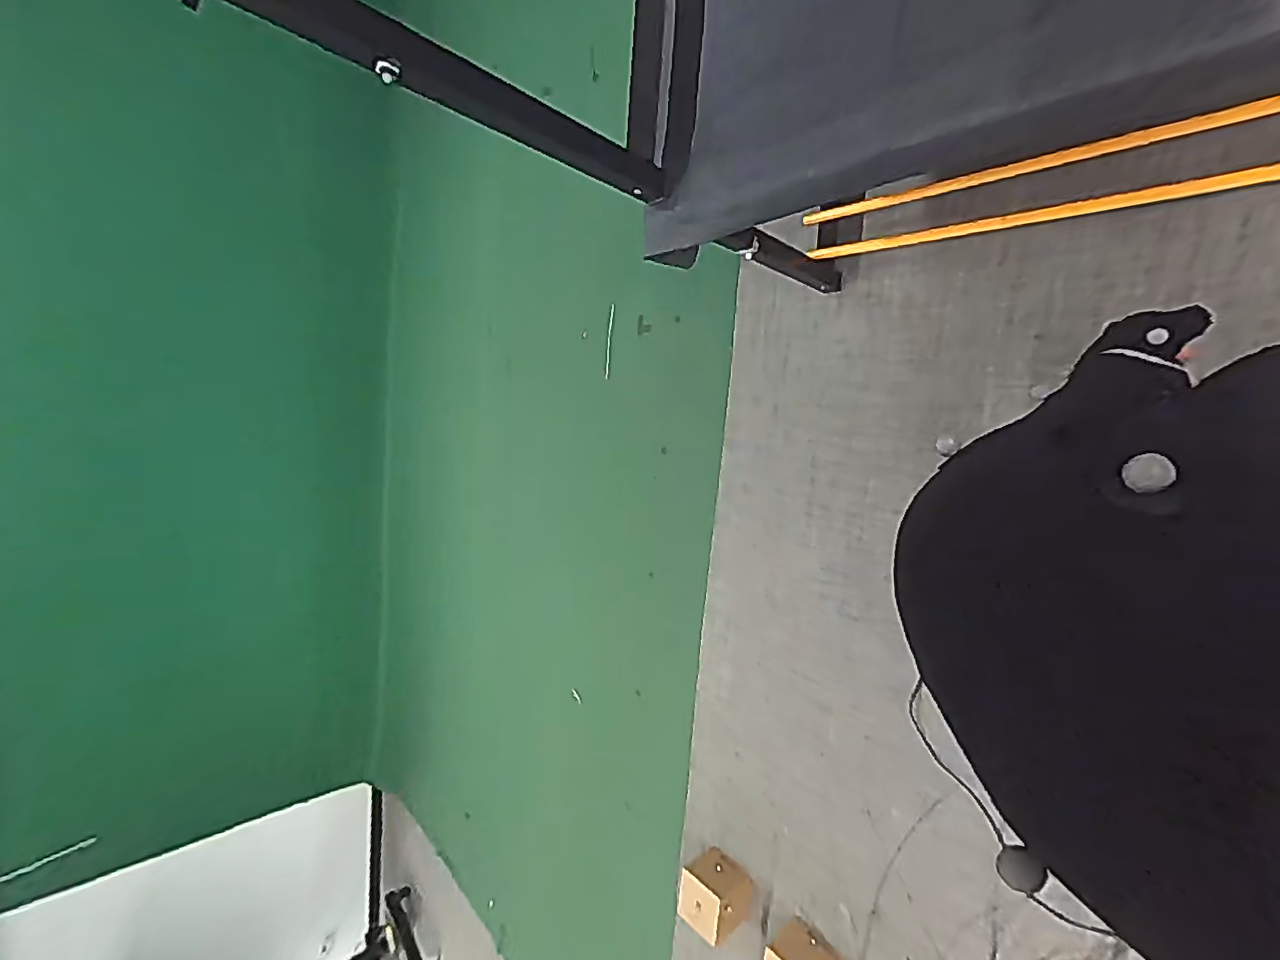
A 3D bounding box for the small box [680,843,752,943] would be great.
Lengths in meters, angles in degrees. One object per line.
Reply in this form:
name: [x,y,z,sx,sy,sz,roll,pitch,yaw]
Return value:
small box: [0.262,1.390,1.836,0.168,0.176,0.179,12,99,46]
